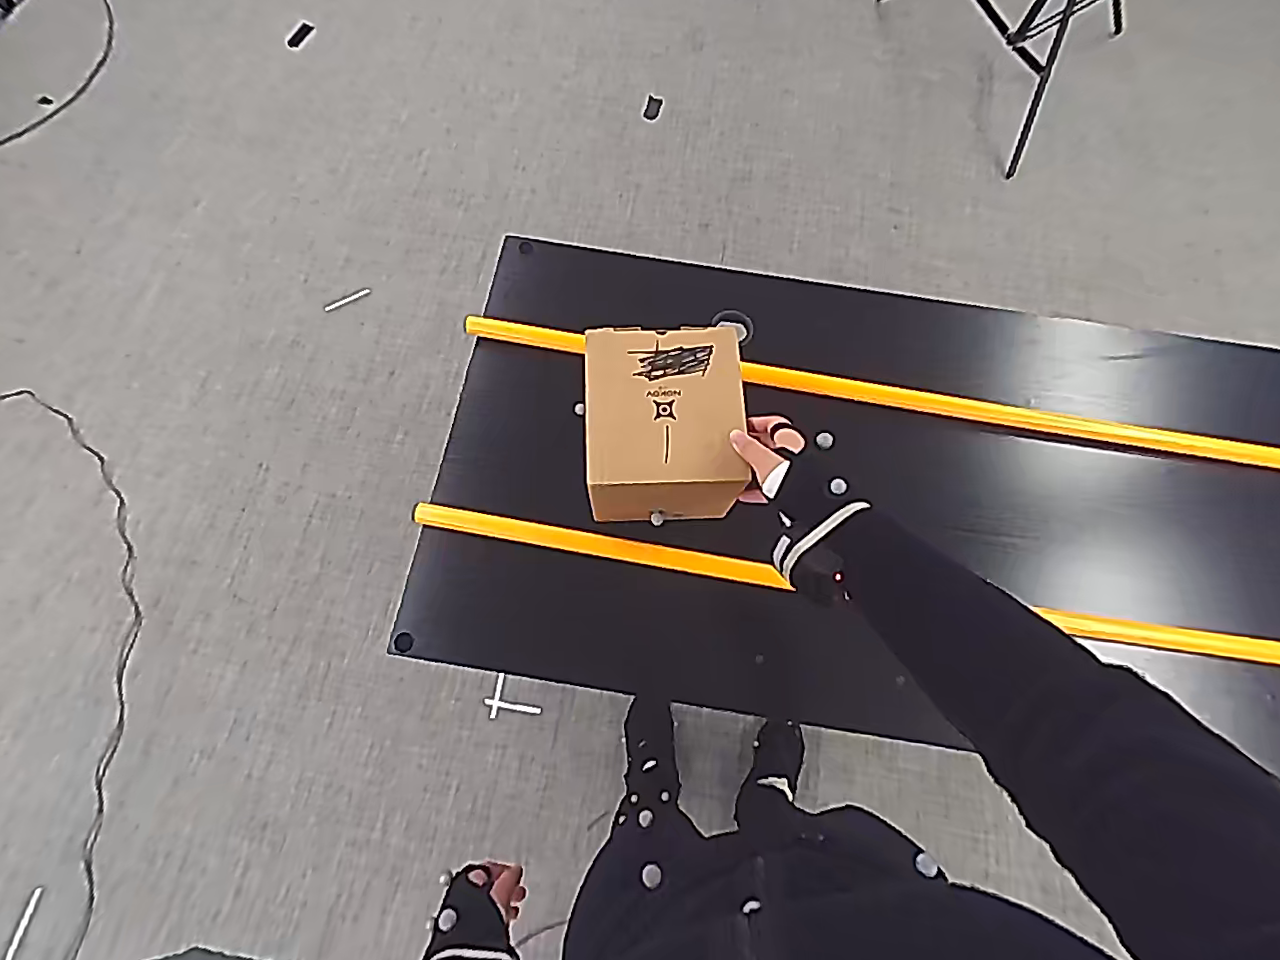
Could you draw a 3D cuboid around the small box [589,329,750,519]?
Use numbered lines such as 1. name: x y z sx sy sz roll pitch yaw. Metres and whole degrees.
1. small box: 0.025 -0.058 0.641 0.168 0.176 0.179 -2 74 -2
